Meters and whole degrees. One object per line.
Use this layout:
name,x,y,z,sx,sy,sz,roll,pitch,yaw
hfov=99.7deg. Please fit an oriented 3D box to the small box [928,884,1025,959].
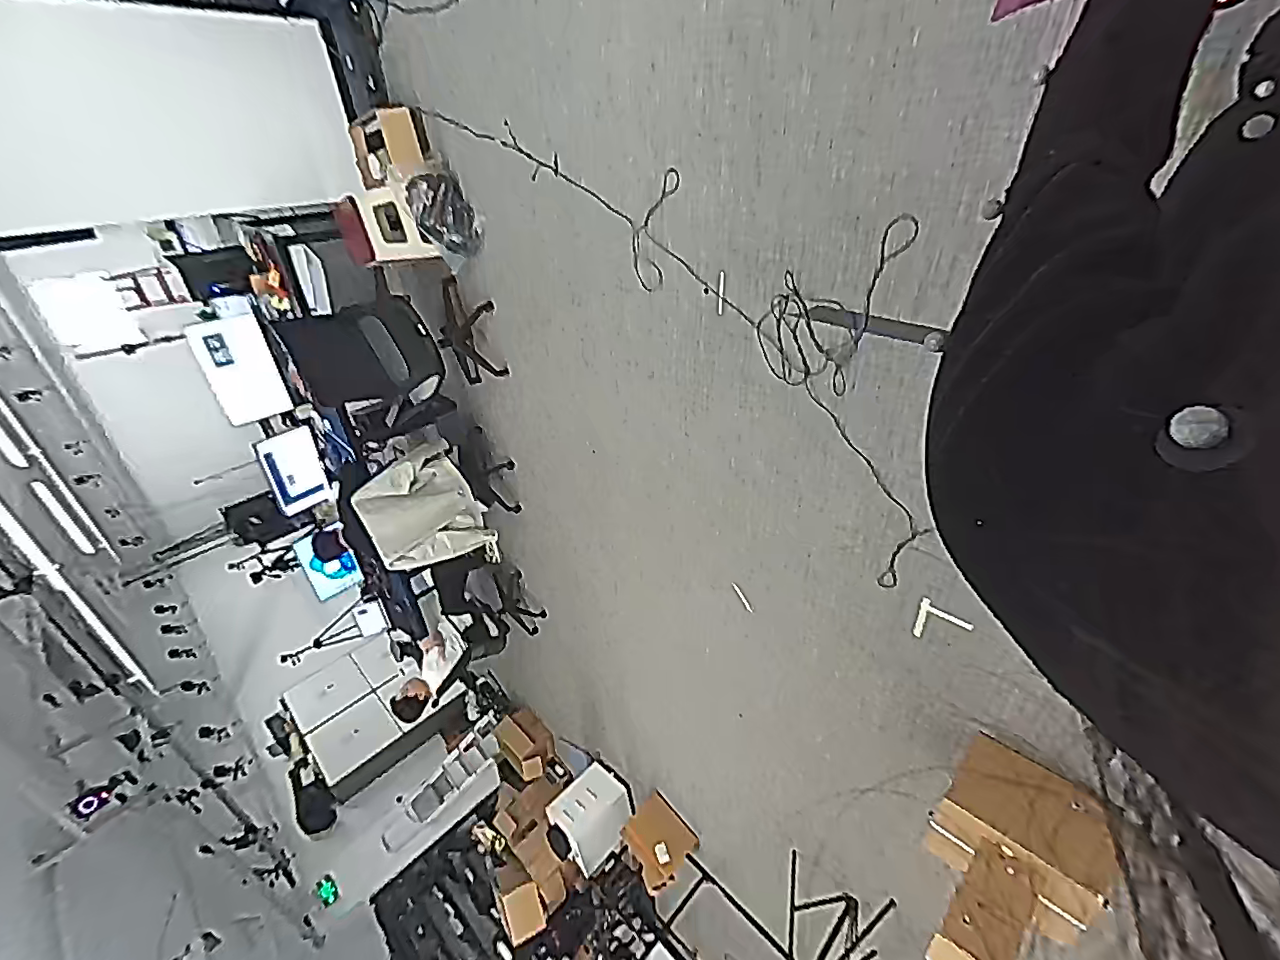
small box,0.908,1.249,1.457,0.168,0.176,0.179,24,132,40

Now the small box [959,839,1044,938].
small box,1.026,1.190,1.552,0.168,0.176,0.179,24,131,39
